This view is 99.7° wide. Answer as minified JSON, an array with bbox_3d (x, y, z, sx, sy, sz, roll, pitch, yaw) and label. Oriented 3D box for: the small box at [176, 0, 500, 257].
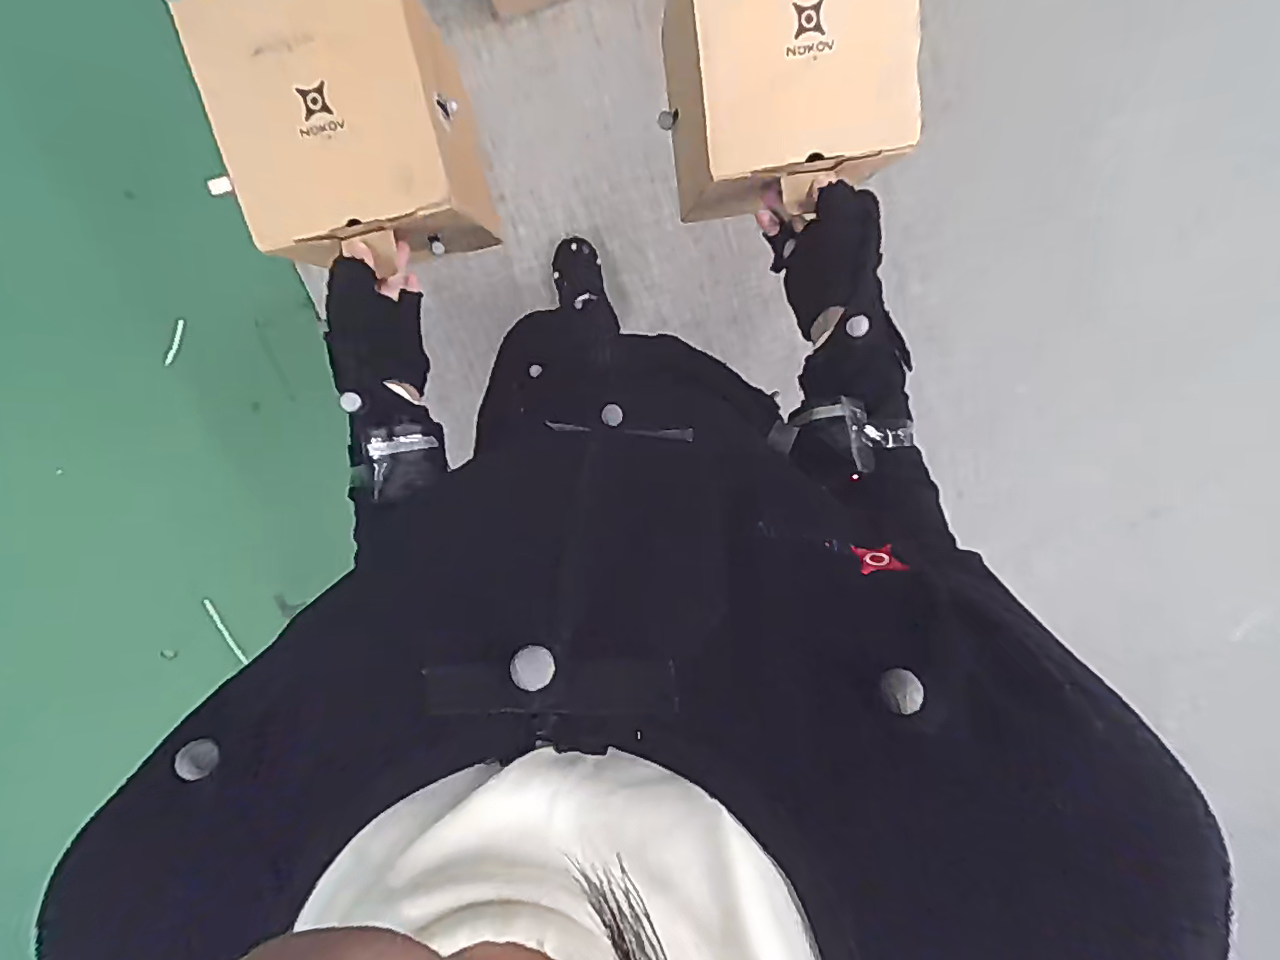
[{"bbox_3d":[-0.240,-0.310,0.483,0.168,0.176,0.179,-12,103,2],"label":"small box"}]
